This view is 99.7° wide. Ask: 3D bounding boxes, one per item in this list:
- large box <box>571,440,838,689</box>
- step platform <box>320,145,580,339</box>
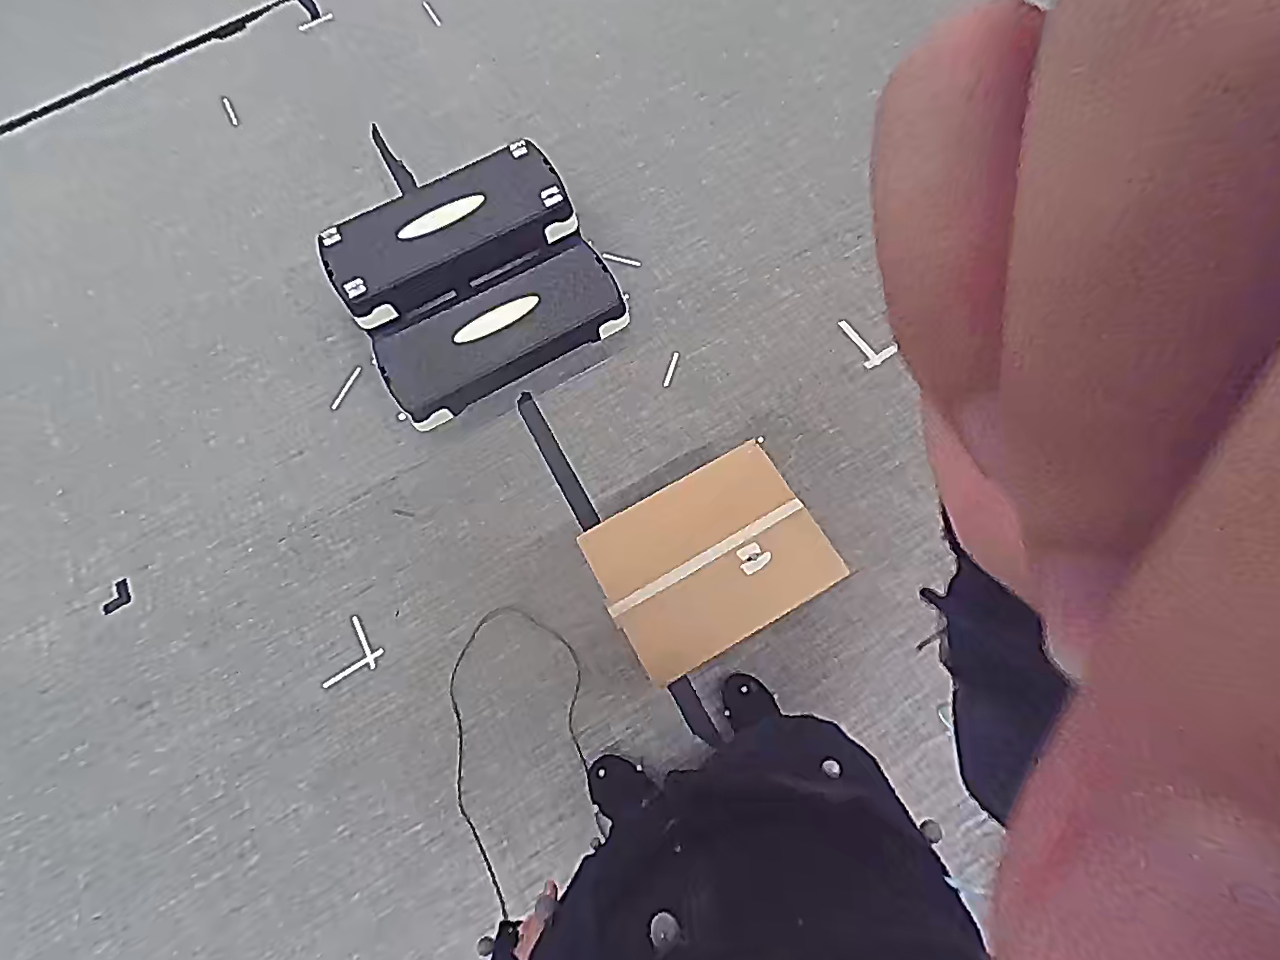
[{"bbox_3d":[0.121,0.190,1.130,0.408,0.320,0.320,-30,72,-7],"label":"large box"},{"bbox_3d":[-0.526,-0.672,1.523,0.684,0.204,0.286,-24,72,-5],"label":"step platform"}]
